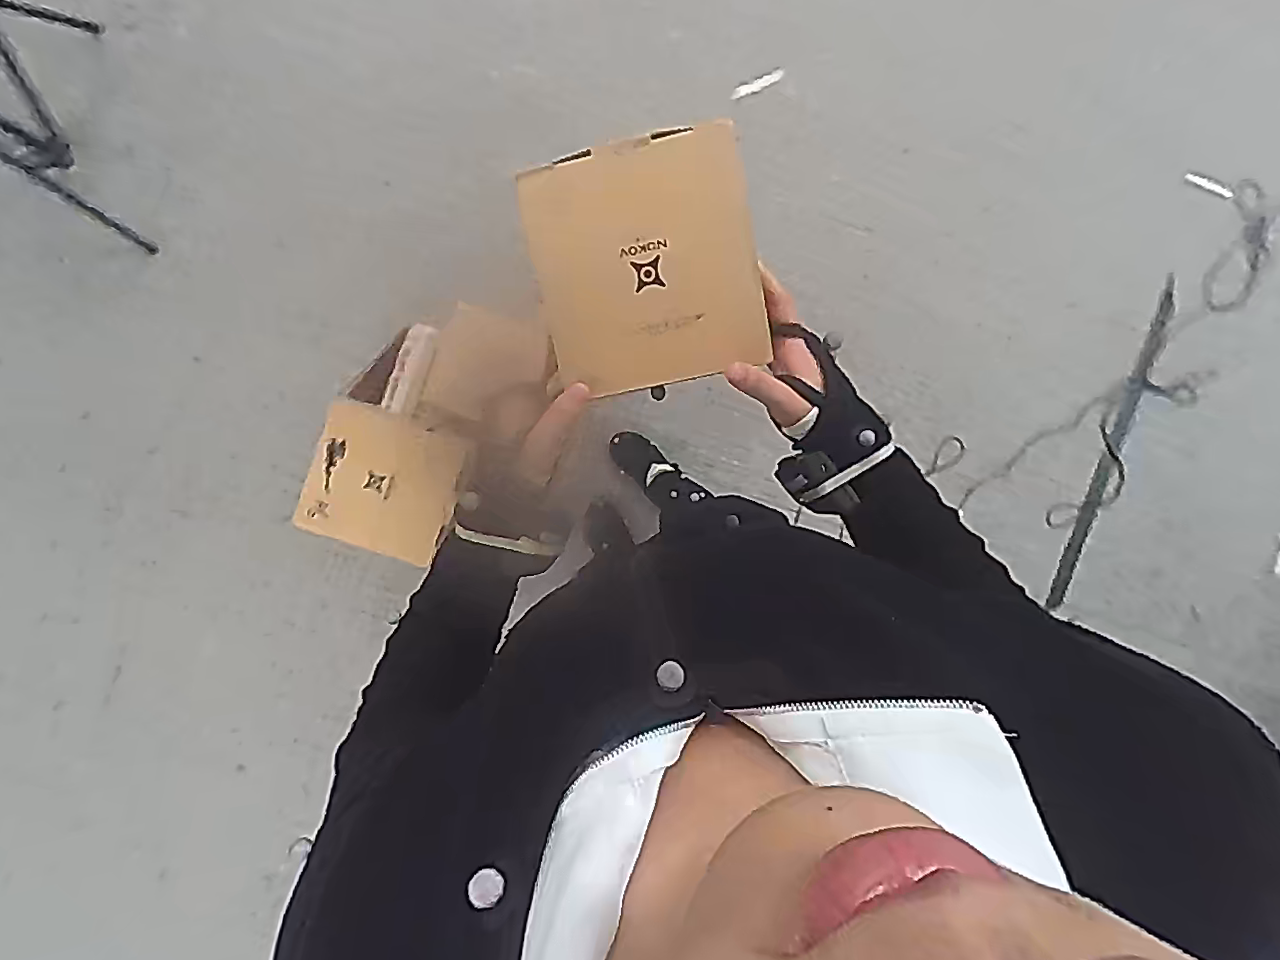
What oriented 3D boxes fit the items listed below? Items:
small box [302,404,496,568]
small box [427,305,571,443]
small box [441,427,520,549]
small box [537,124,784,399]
[{"bbox_3d":[-0.316,0.004,0.750,0.179,0.176,0.168,19,91,-6],"label":"small box"},{"bbox_3d":[-0.226,-0.167,0.917,0.179,0.176,0.168,19,89,-4],"label":"small box"},{"bbox_3d":[-0.317,0.004,0.914,0.179,0.176,0.168,17,91,-6],"label":"small box"},{"bbox_3d":[0.020,-0.174,0.484,0.168,0.176,0.179,-10,101,5],"label":"small box"}]
